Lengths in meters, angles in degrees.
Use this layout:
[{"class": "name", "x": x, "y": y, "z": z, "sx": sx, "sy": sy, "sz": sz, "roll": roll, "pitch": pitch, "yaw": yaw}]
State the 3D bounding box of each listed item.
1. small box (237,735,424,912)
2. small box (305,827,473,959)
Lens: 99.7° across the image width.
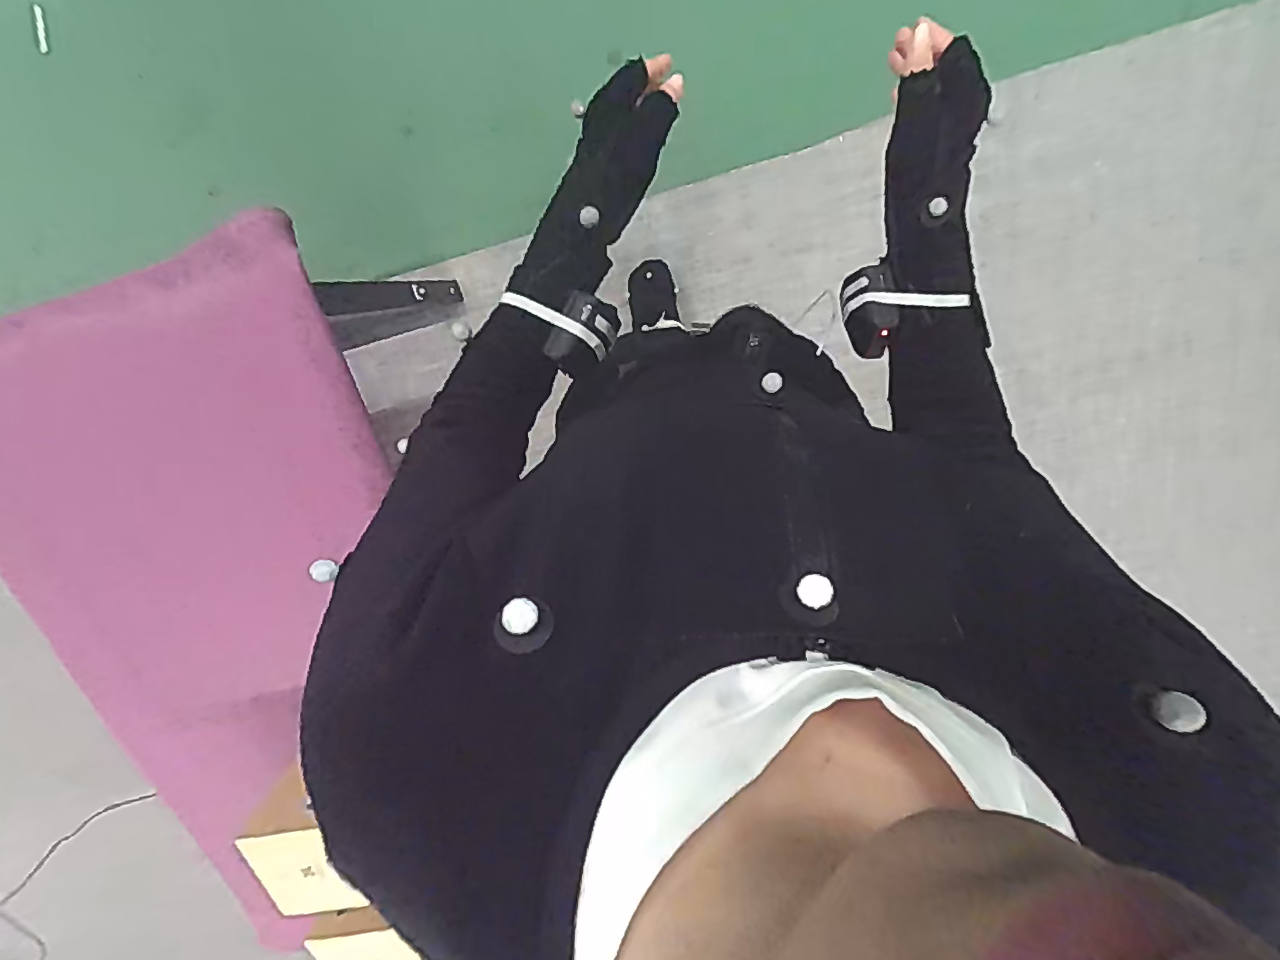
[{"class": "small box", "x": -0.467, "y": 0.532, "z": 0.855, "sx": 0.179, "sy": 0.176, "sz": 0.168, "roll": -12, "pitch": 109, "yaw": 6}, {"class": "small box", "x": -0.414, "y": 0.735, "z": 0.925, "sx": 0.179, "sy": 0.176, "sz": 0.168, "roll": -13, "pitch": 109, "yaw": 6}]
